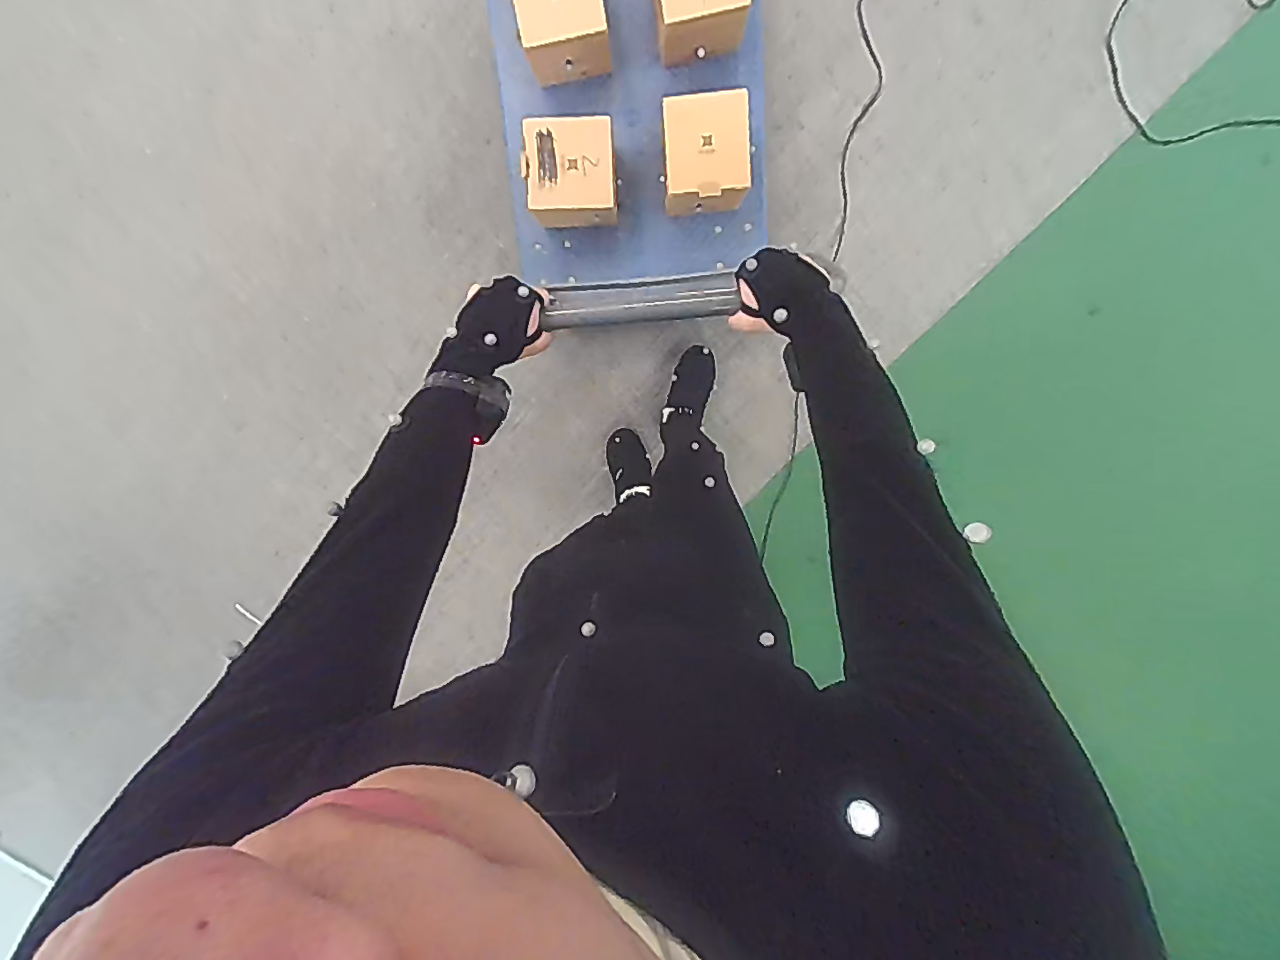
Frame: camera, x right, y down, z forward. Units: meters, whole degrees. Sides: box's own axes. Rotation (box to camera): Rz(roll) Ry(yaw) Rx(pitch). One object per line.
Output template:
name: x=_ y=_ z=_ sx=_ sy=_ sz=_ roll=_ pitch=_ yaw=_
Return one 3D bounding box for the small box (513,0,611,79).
small box: x=-0.155 y=-0.932 z=1.069 sx=0.168 sy=0.176 sz=0.179 roll=-10 pitch=104 yaw=3

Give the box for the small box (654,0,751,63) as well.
small box: x=0.113 y=-0.965 z=1.055 sx=0.168 sy=0.176 sz=0.179 roll=-9 pitch=105 yaw=4

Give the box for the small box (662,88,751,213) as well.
small box: x=0.134 y=-0.679 z=1.131 sx=0.168 sy=0.176 sz=0.179 roll=-5 pitch=105 yaw=2
